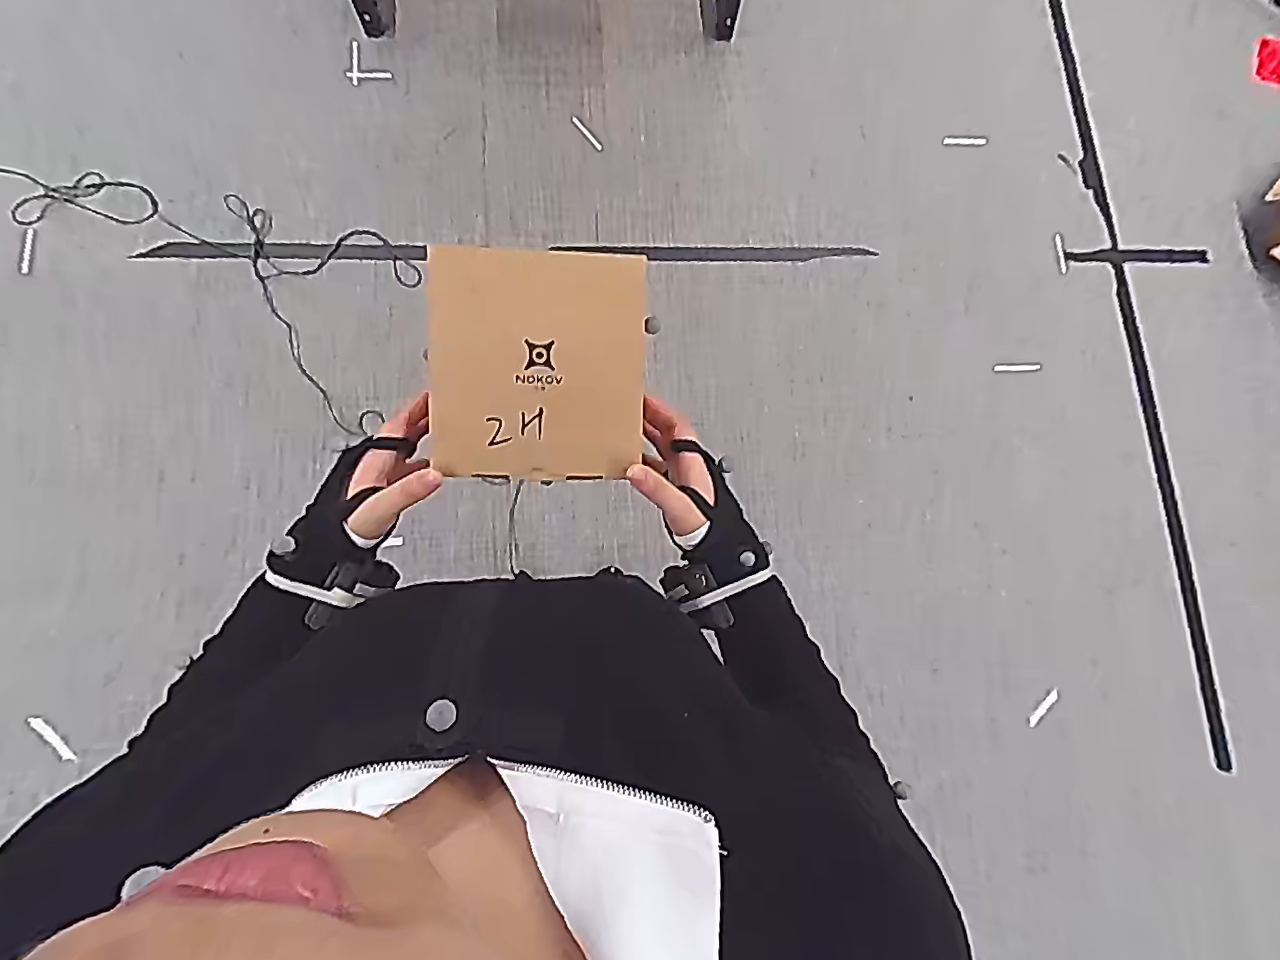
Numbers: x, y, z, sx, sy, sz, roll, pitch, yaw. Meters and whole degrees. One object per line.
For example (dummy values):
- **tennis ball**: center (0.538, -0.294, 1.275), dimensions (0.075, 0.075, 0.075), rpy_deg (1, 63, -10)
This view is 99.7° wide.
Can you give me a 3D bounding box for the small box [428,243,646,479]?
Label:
- **small box**: center (-0.087, -0.095, 0.497), dimensions (0.168, 0.176, 0.179), rpy_deg (1, 95, -5)
